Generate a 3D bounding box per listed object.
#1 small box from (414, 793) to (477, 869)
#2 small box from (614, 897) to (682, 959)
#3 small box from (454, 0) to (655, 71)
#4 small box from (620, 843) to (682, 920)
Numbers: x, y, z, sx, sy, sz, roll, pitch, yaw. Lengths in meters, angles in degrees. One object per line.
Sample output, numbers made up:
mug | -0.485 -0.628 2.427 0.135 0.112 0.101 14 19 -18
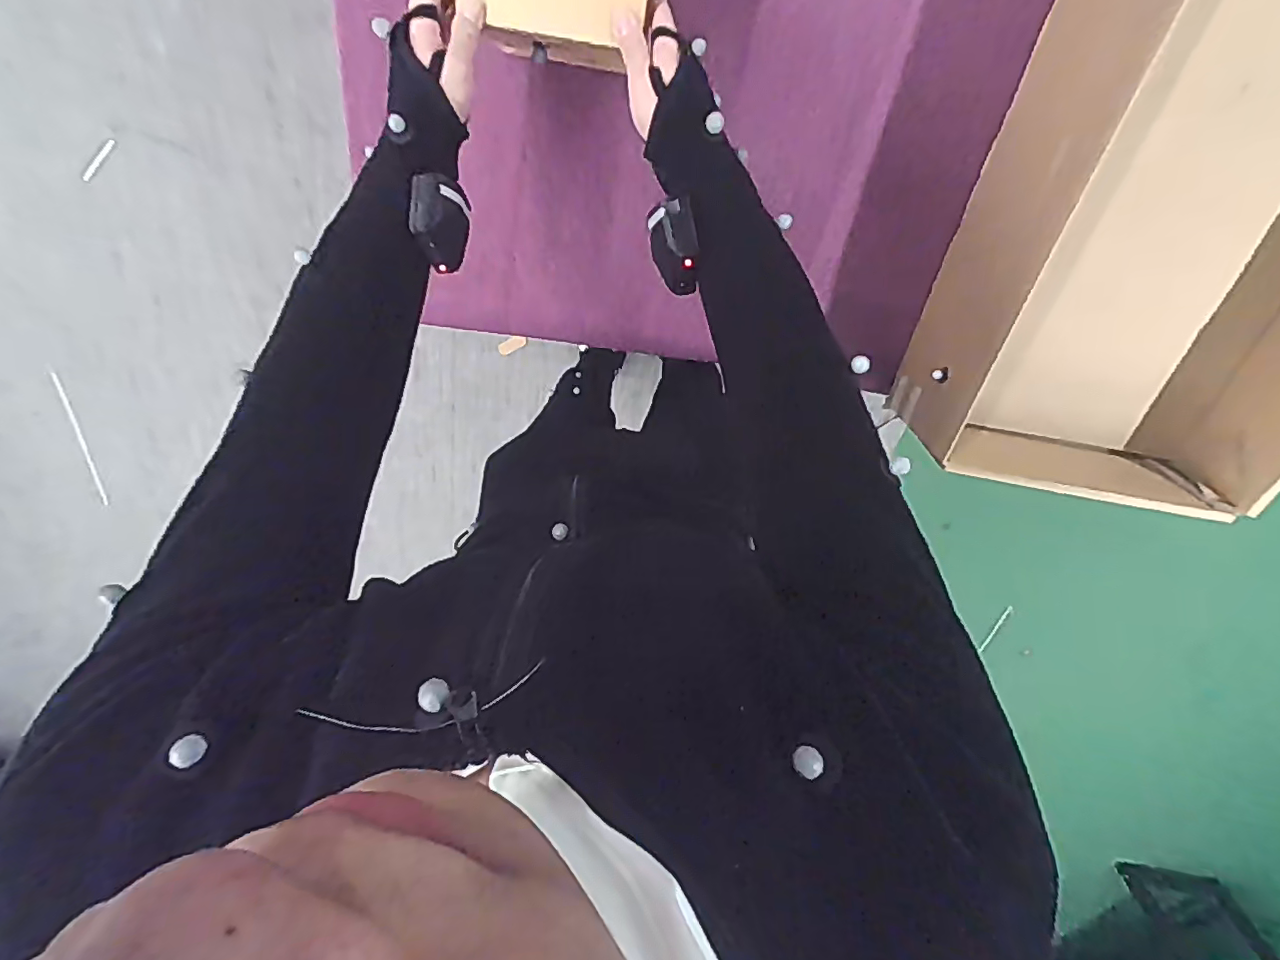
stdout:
small box | -0.730 1.321 2.043 0.168 0.176 0.179 19 117 -8
small box | 0.032 1.471 1.723 0.179 0.176 0.168 -20 117 11
small box | -0.065 -0.505 0.500 0.168 0.176 0.179 8 119 -2
small box | 0.042 1.395 1.867 0.168 0.176 0.179 -18 116 11
